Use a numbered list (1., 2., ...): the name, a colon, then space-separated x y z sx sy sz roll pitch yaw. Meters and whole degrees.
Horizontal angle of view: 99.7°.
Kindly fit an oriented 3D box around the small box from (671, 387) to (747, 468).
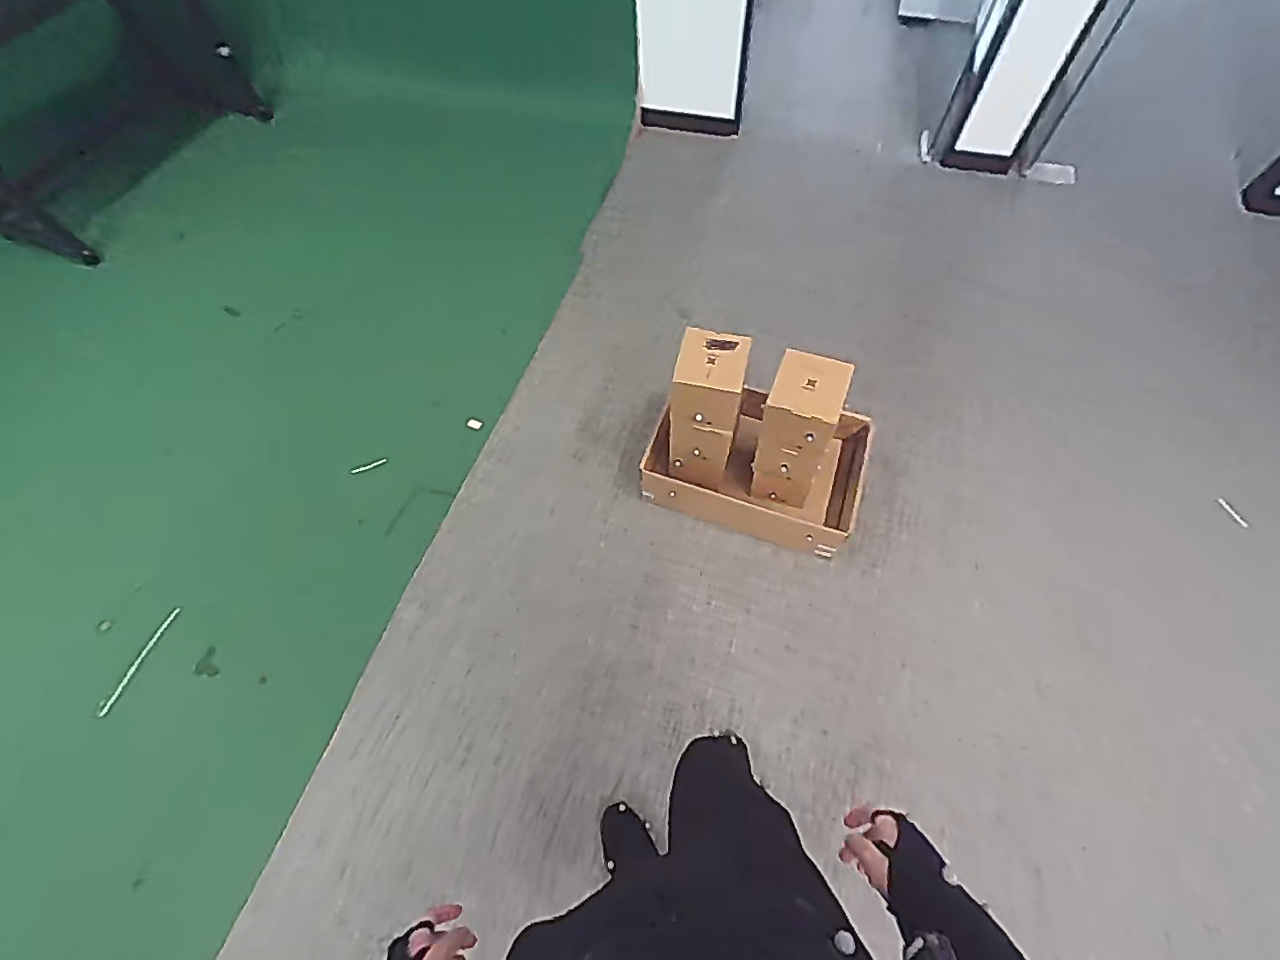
1. small box: 0.187 -0.163 1.507 0.168 0.176 0.179 17 64 10

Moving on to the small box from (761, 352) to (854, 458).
1. small box: 0.402 -0.178 1.325 0.168 0.176 0.179 19 66 14

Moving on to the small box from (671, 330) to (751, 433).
1. small box: 0.175 -0.246 1.365 0.168 0.176 0.179 12 63 8
